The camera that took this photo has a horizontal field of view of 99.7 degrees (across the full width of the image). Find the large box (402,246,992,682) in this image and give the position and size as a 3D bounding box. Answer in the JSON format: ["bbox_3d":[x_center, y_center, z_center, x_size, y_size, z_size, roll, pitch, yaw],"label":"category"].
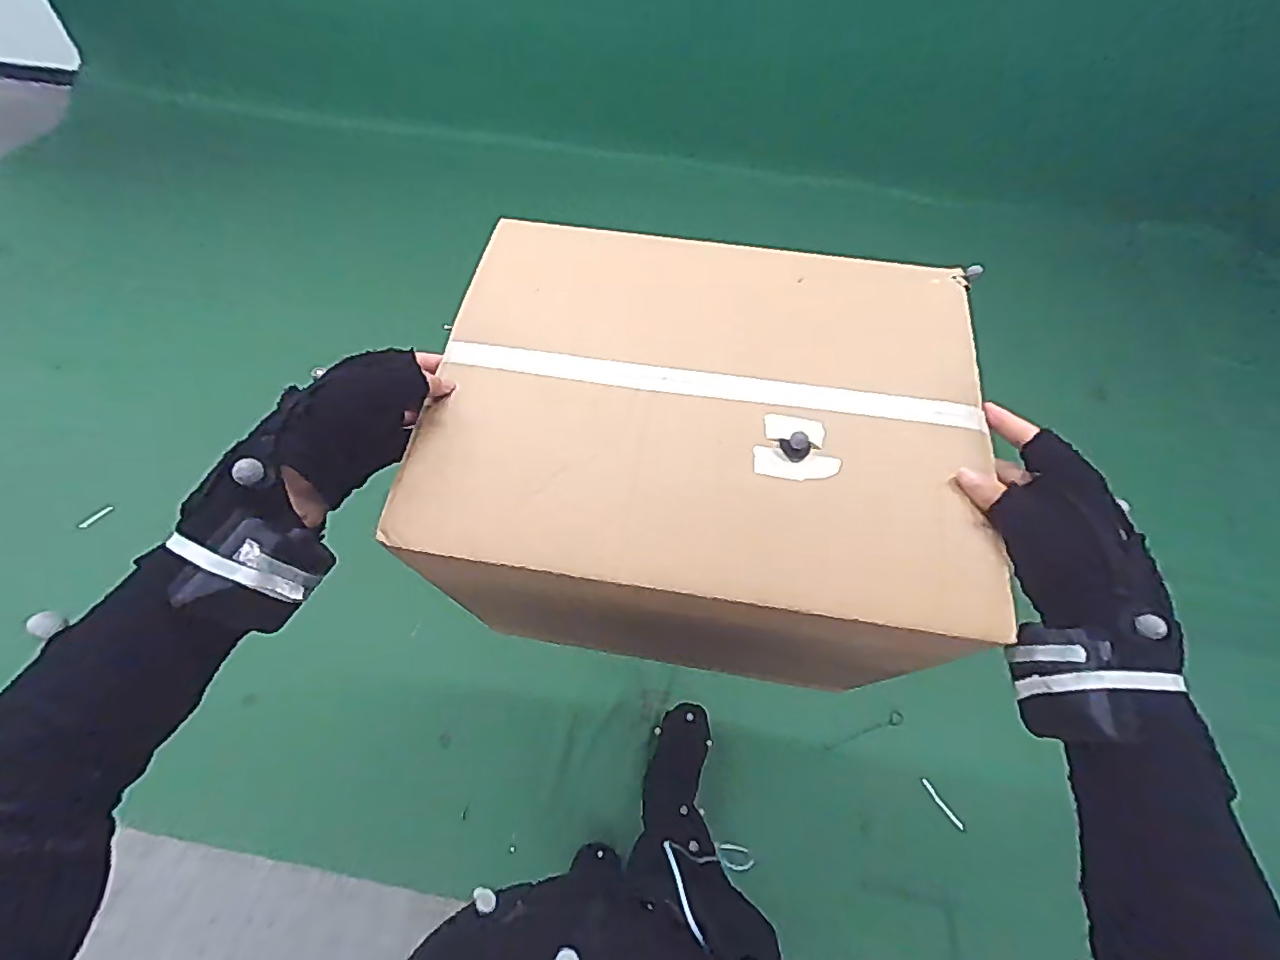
[{"bbox_3d":[0.050,0.005,0.556,0.408,0.320,0.320,8,64,4],"label":"large box"}]
